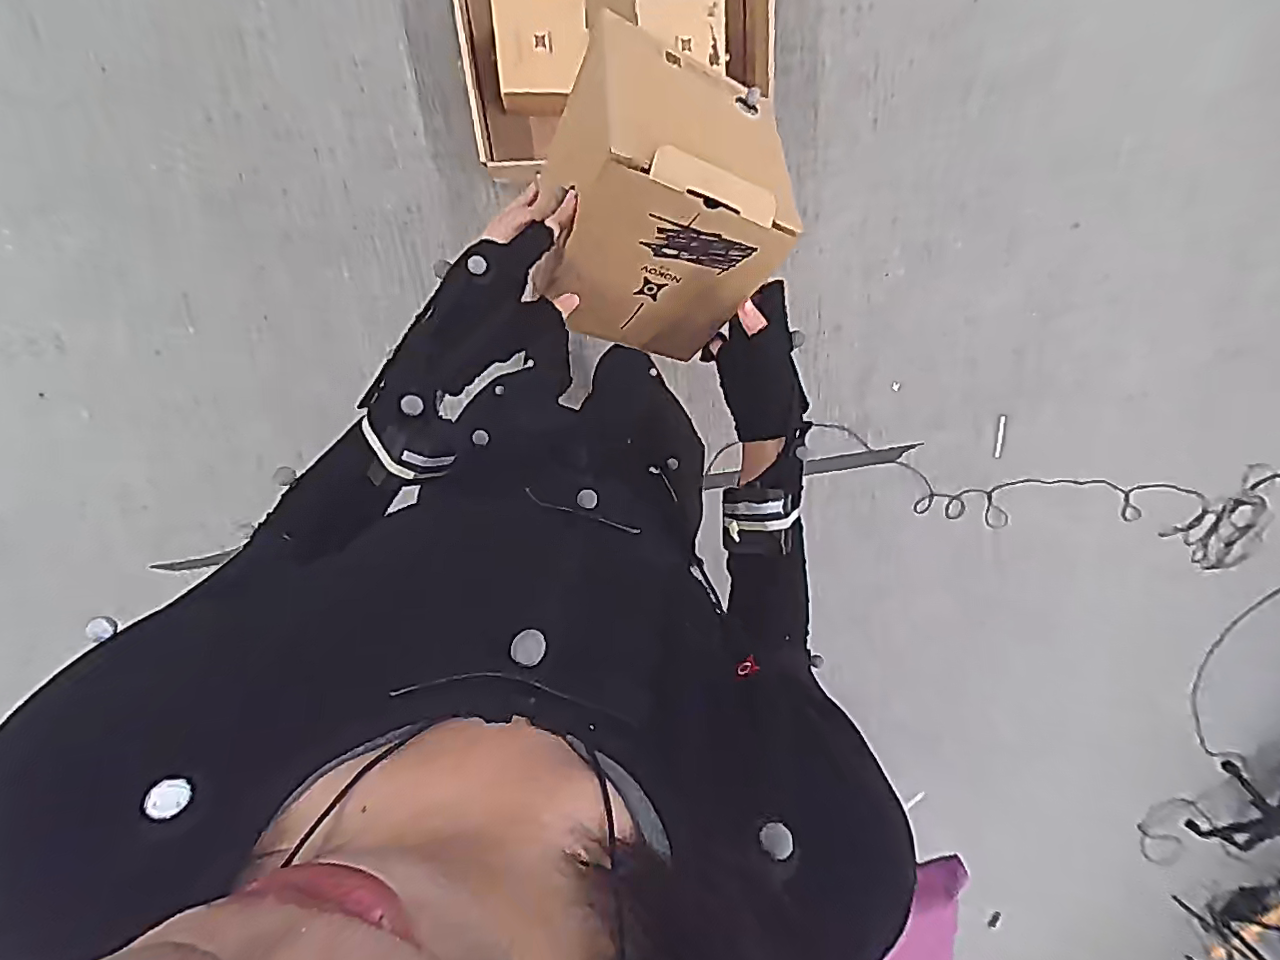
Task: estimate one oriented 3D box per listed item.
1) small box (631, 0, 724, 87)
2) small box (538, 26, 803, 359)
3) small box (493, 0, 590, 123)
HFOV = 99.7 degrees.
[{"bbox_3d":[0.070,-0.863,1.129,0.179,0.176,0.168,-6,112,-5],"label":"small box"},{"bbox_3d":[0.011,-0.242,0.482,0.168,0.176,0.179,9,152,-26],"label":"small box"},{"bbox_3d":[-0.195,-0.840,1.092,0.179,0.176,0.168,-5,111,-8],"label":"small box"}]
